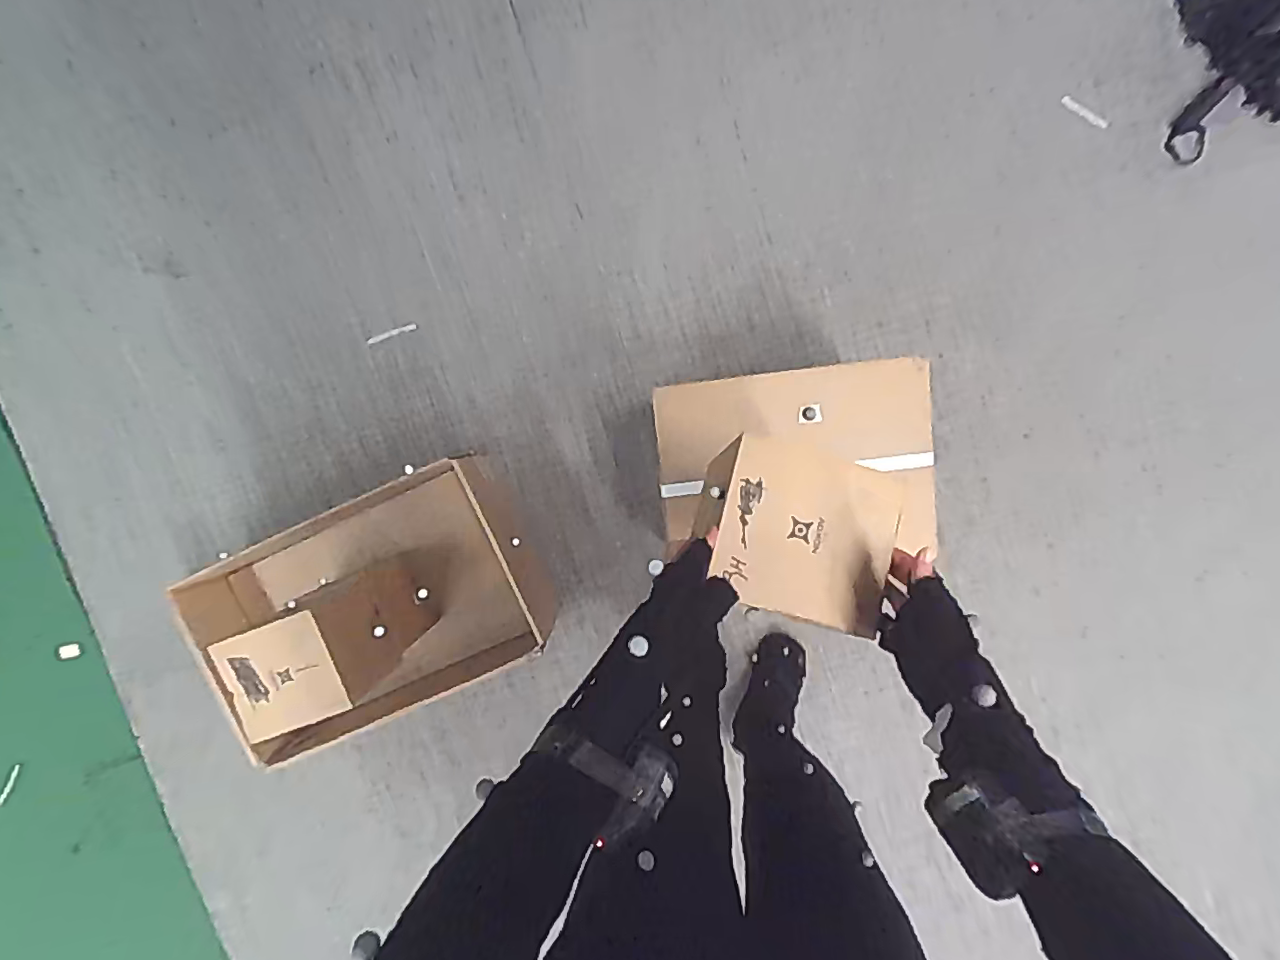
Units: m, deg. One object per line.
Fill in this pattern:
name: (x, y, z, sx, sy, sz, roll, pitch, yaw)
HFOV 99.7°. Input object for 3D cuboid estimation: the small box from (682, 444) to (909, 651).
small box: (0.160, 0.075, 0.606, 0.179, 0.176, 0.168, 16, 80, -2)

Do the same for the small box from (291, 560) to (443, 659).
small box: (-0.520, 0.275, 1.054, 0.179, 0.176, 0.168, -24, 94, 3)

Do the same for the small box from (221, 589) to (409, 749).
small box: (-0.521, 0.299, 0.891, 0.179, 0.176, 0.168, -21, 94, 3)
